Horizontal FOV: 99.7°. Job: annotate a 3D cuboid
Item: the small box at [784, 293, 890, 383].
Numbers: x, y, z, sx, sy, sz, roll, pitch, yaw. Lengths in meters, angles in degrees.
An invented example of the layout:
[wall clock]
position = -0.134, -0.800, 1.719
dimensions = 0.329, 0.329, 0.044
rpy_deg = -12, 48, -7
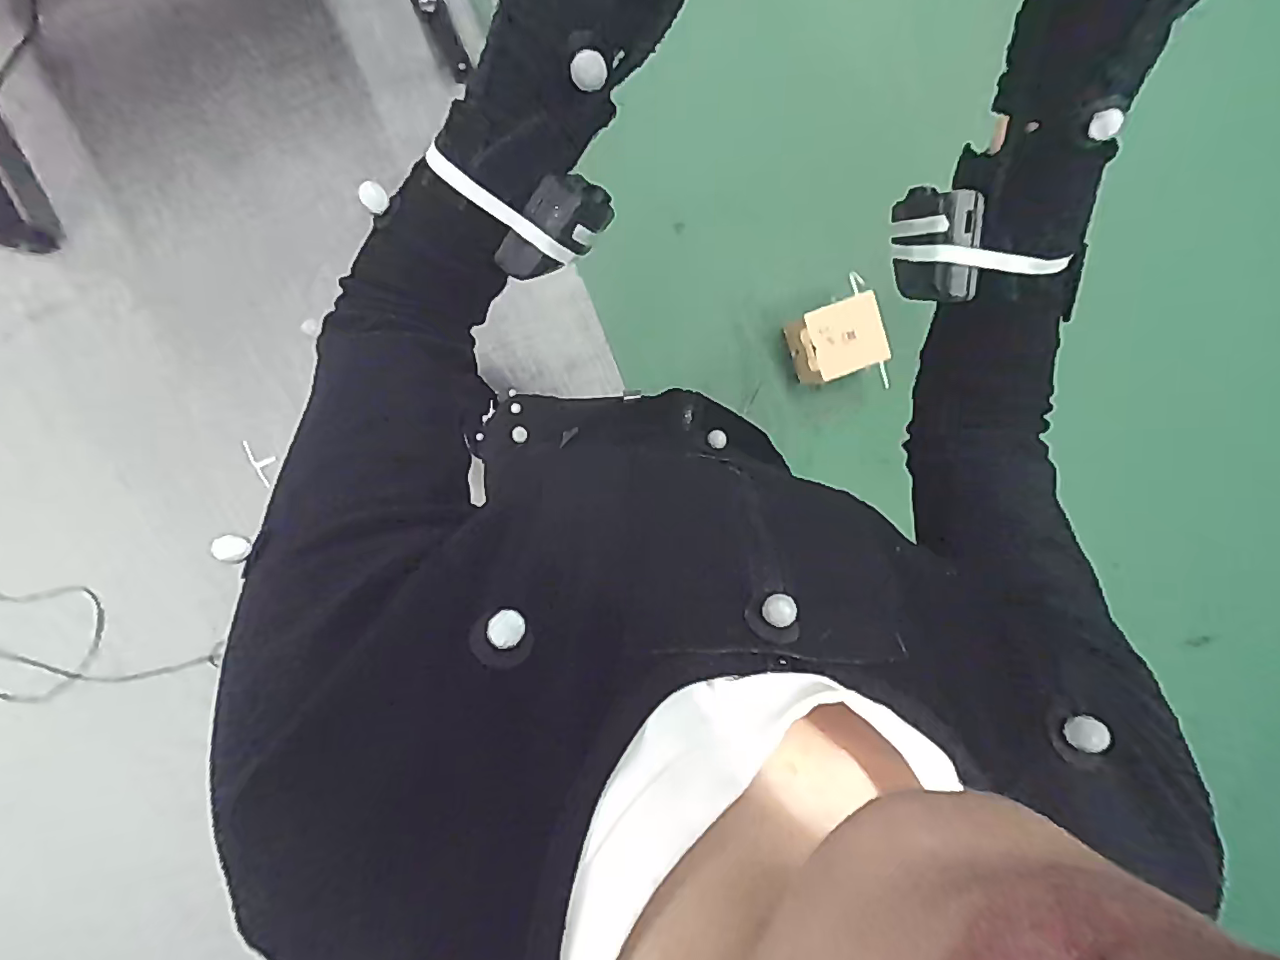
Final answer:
[small box]
position = 0.484, -0.347, 1.348
dimensions = 0.179, 0.176, 0.168
rpy_deg = -19, 99, 2
